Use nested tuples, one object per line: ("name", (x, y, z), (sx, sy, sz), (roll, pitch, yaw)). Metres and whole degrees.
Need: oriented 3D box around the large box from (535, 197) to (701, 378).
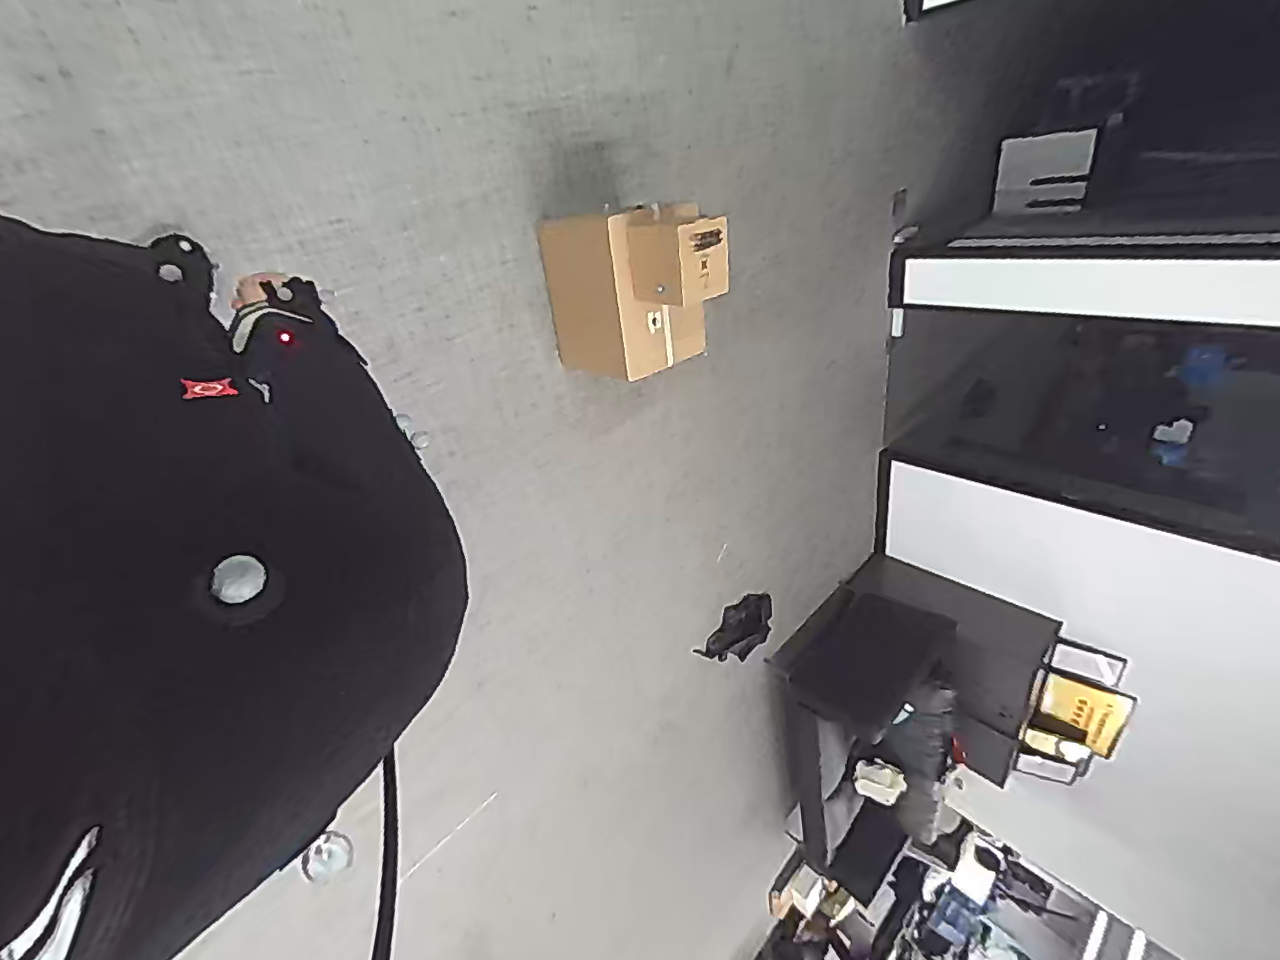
("large box", (-0.053, -0.547, 1.518), (0.320, 0.320, 0.408), (-29, 127, -33))
